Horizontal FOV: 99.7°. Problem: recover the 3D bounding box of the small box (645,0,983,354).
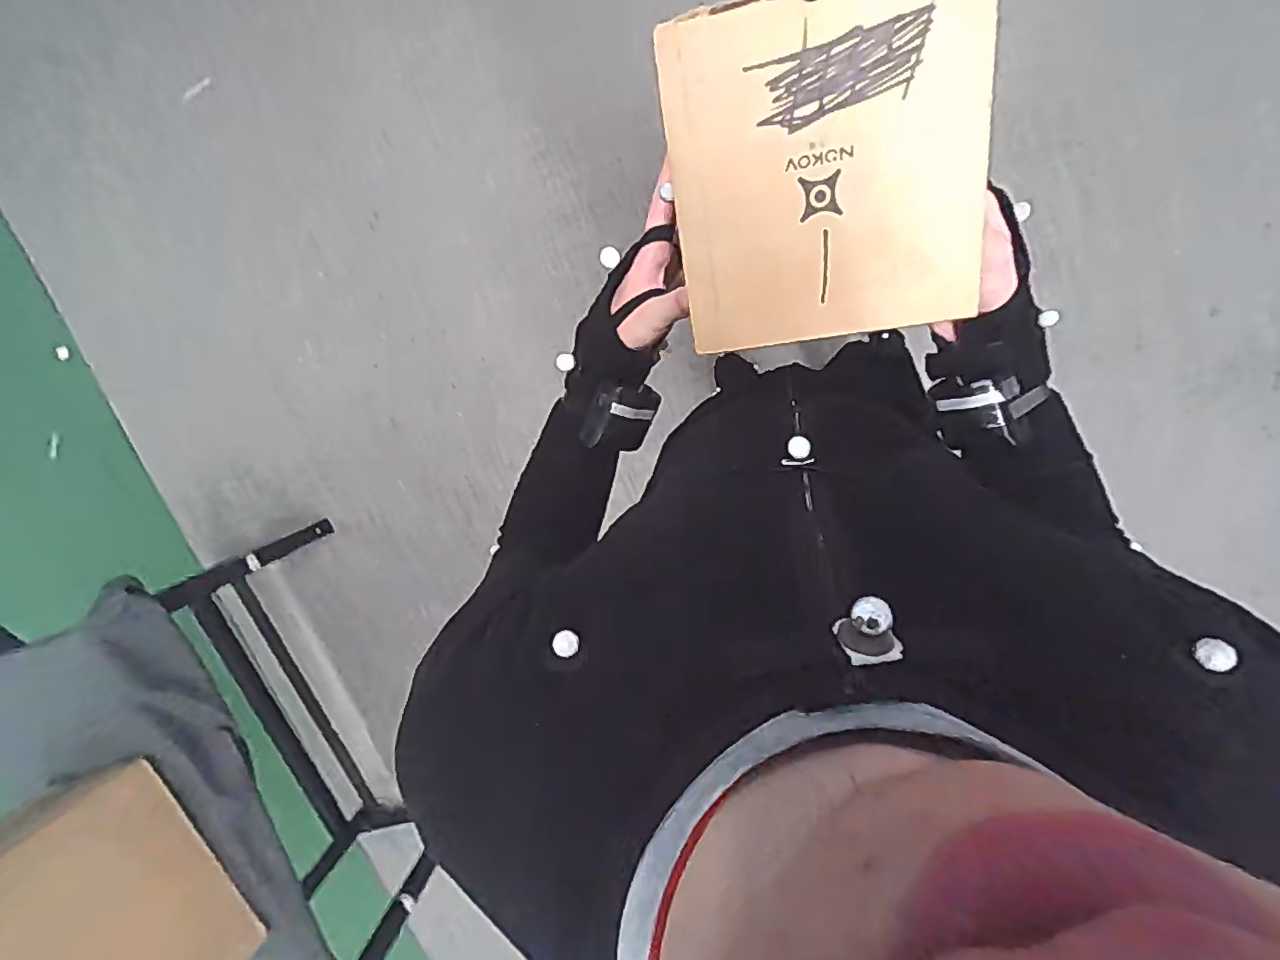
[{"bbox_3d":[0.107,-0.197,0.369,0.168,0.176,0.179,-5,114,14],"label":"small box"}]
